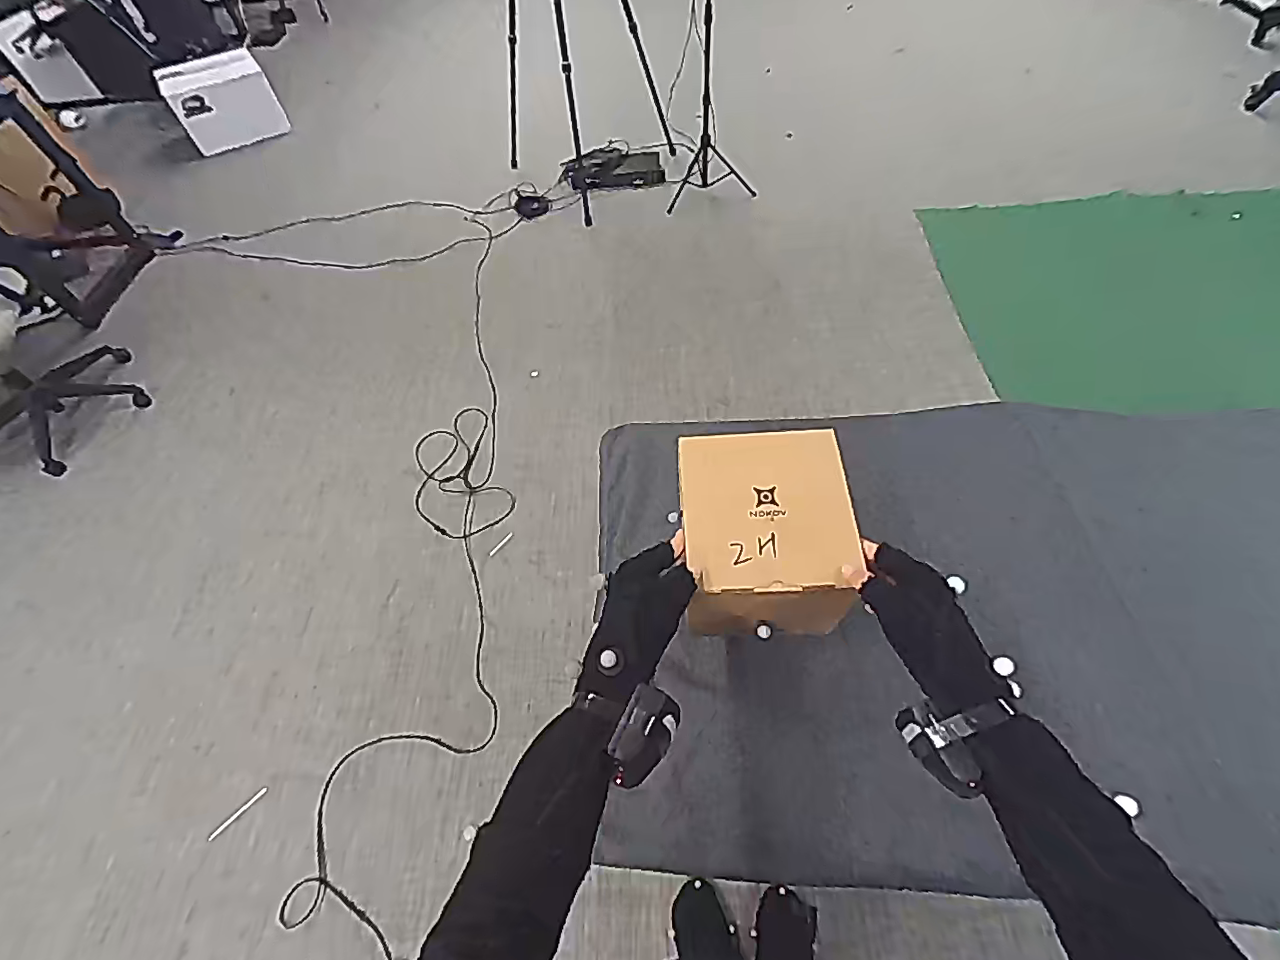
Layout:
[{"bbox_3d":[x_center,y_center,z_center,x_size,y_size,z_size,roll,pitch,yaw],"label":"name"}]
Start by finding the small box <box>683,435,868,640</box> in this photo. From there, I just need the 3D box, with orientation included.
[{"bbox_3d":[0.134,0.070,0.608,0.168,0.176,0.179,-3,60,4],"label":"small box"}]
